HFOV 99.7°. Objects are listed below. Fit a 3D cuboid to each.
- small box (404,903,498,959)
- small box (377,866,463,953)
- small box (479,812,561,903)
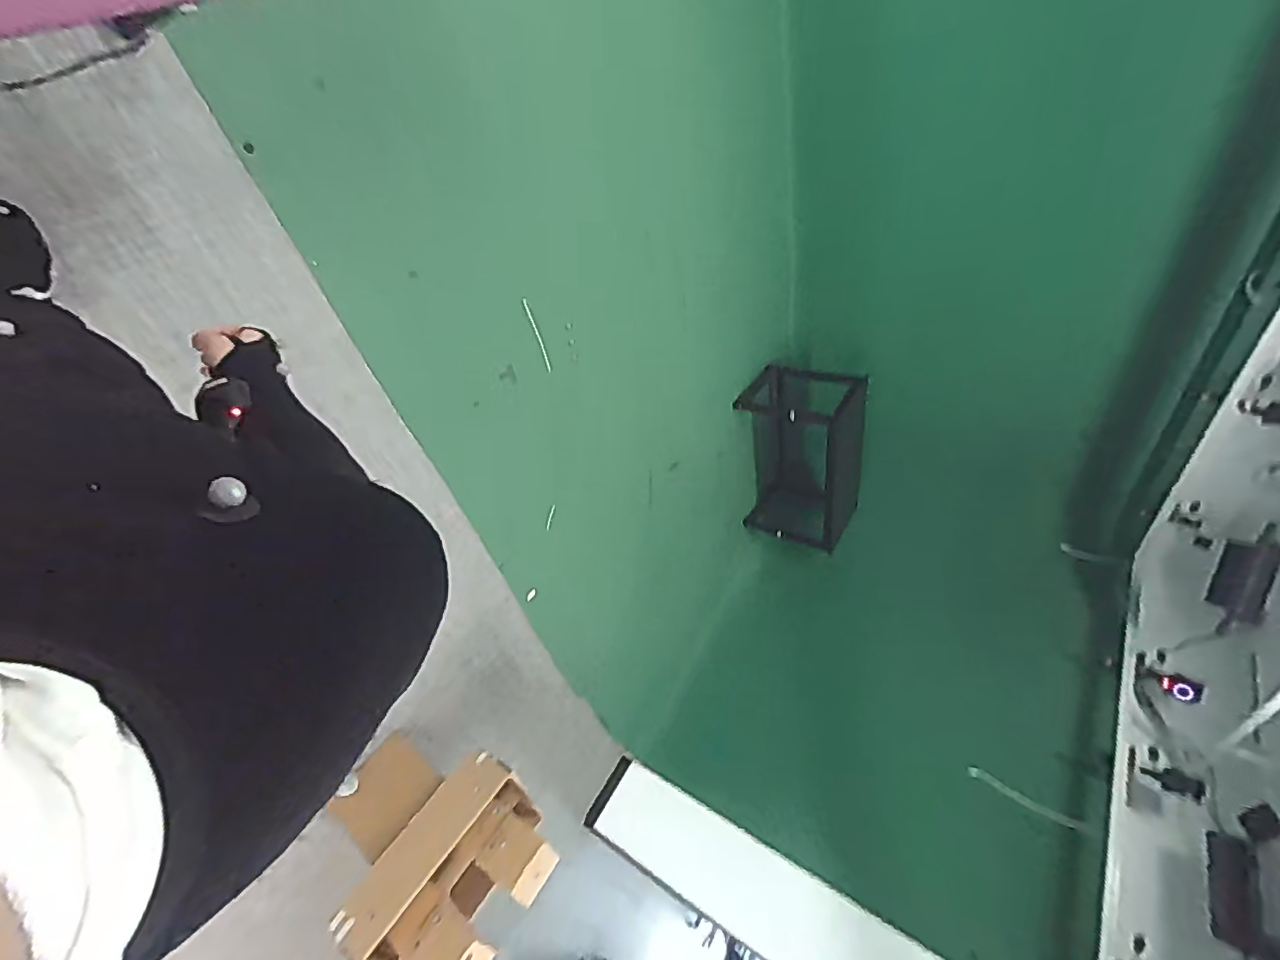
[{"bbox_3d":[-0.565,1.413,1.612,0.168,0.176,0.179,-48,139,-33],"label":"small box"},{"bbox_3d":[-0.691,1.374,1.711,0.168,0.176,0.179,-44,136,-36],"label":"small box"},{"bbox_3d":[-0.396,1.241,1.785,0.168,0.176,0.179,-49,139,-34],"label":"small box"}]
